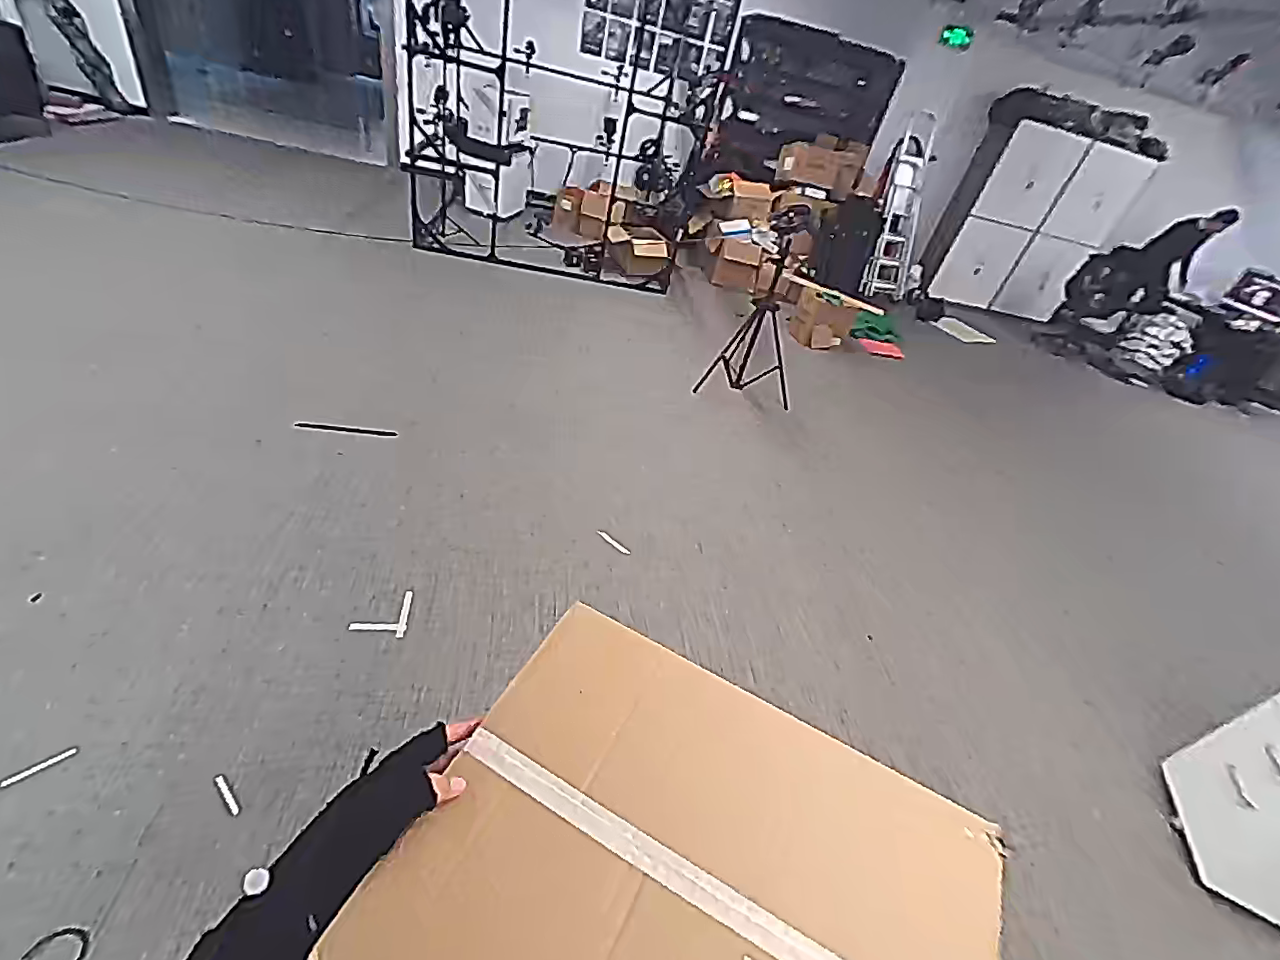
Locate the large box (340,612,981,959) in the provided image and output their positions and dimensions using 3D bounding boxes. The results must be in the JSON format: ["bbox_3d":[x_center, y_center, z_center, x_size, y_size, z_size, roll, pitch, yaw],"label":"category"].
[{"bbox_3d":[0.024,0.402,0.504,0.408,0.320,0.320,24,46,16],"label":"large box"}]
